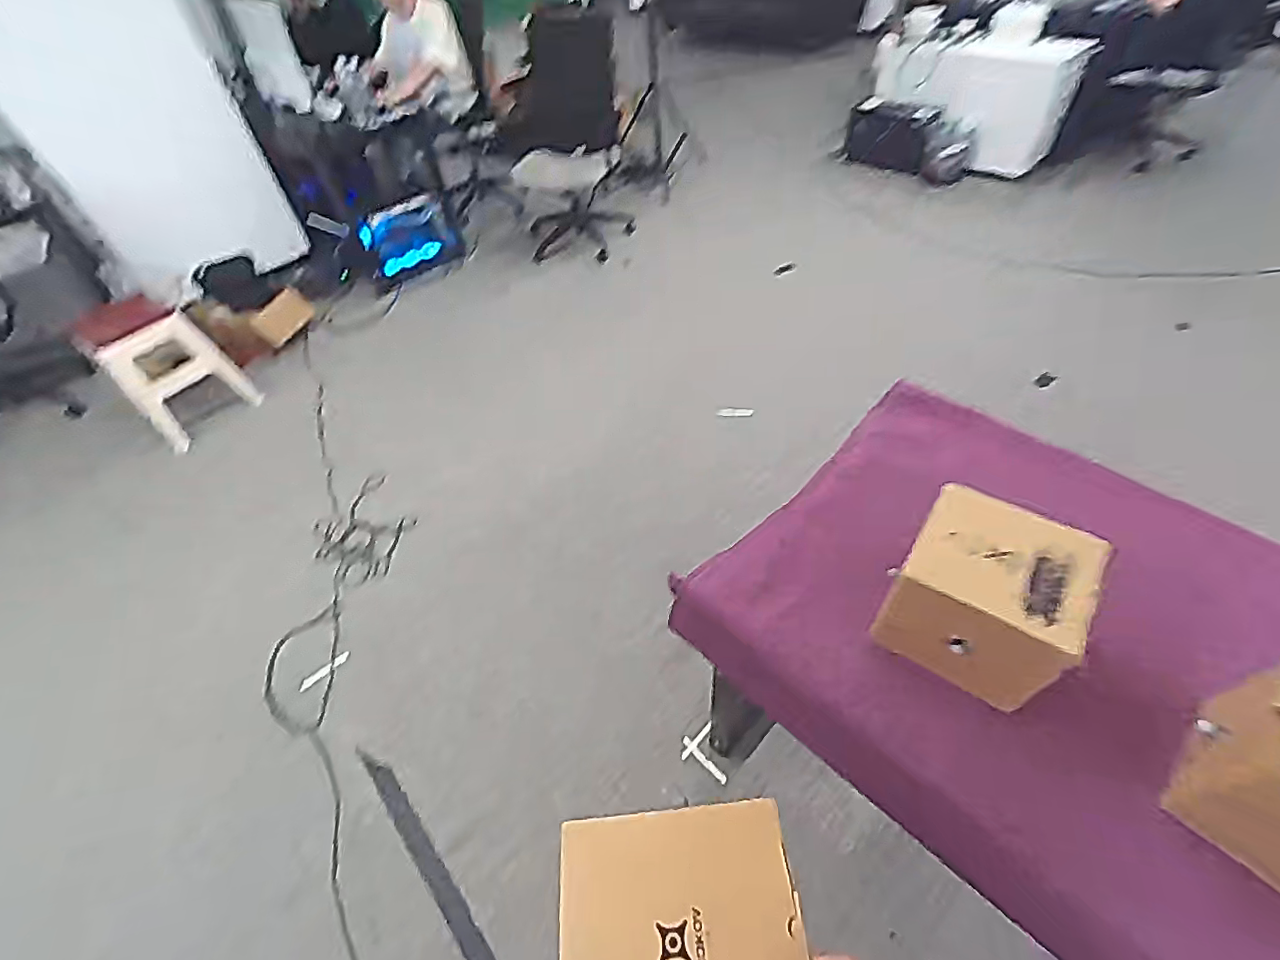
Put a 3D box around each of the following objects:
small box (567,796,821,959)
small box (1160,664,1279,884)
[{"bbox_3d":[0.045,0.370,0.432,0.179,0.176,0.168,-7,48,4],"label":"small box"},{"bbox_3d":[0.670,0.292,0.512,0.168,0.176,0.179,-36,54,-25],"label":"small box"}]
